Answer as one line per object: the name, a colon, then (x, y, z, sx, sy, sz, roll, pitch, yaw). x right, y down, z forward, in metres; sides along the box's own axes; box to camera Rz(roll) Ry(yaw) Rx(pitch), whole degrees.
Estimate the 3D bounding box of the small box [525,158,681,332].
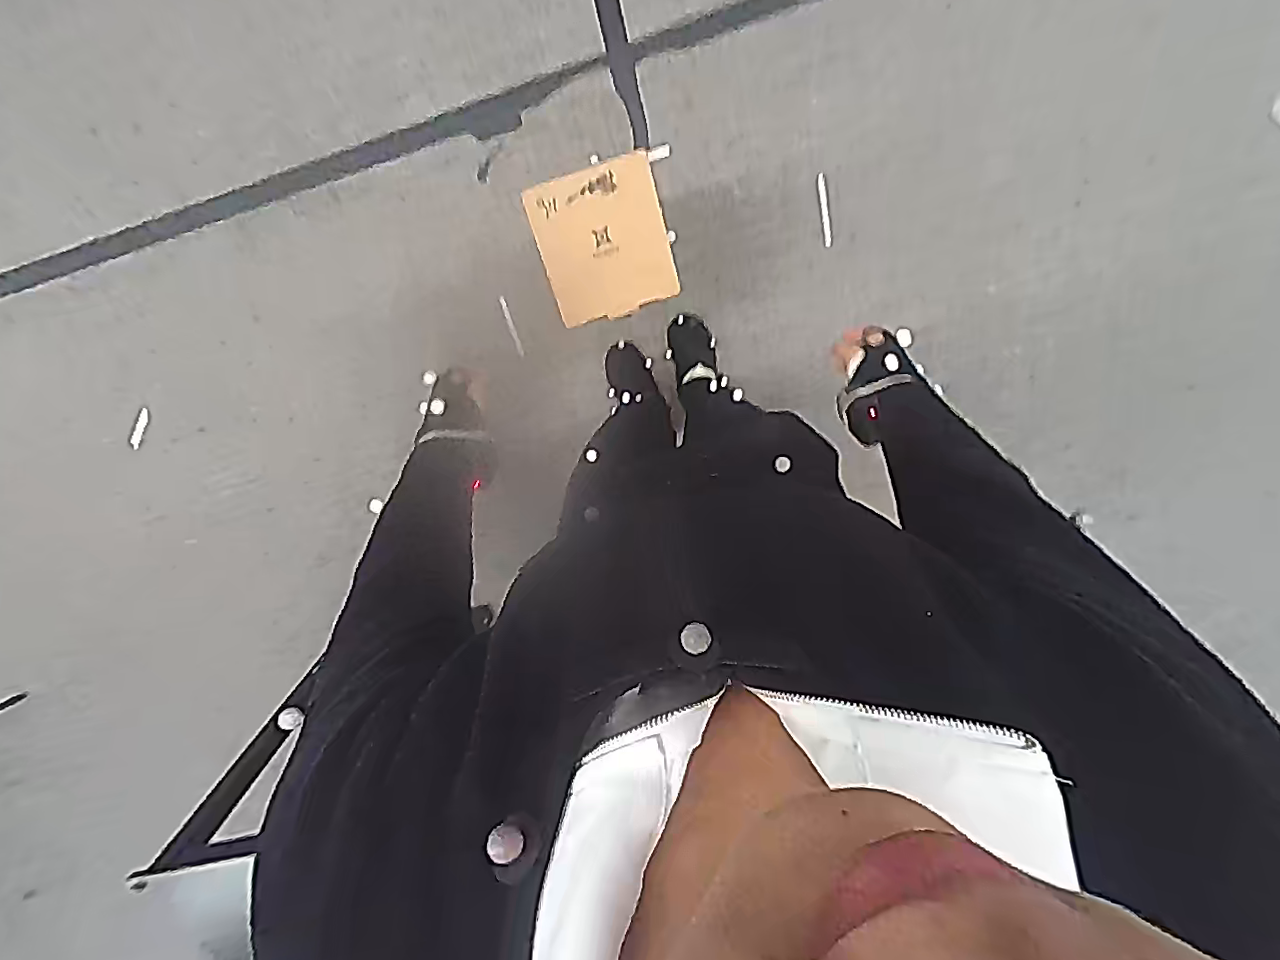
small box: (-0.043, -0.330, 0.770, 0.168, 0.176, 0.179, -15, 113, 7)
